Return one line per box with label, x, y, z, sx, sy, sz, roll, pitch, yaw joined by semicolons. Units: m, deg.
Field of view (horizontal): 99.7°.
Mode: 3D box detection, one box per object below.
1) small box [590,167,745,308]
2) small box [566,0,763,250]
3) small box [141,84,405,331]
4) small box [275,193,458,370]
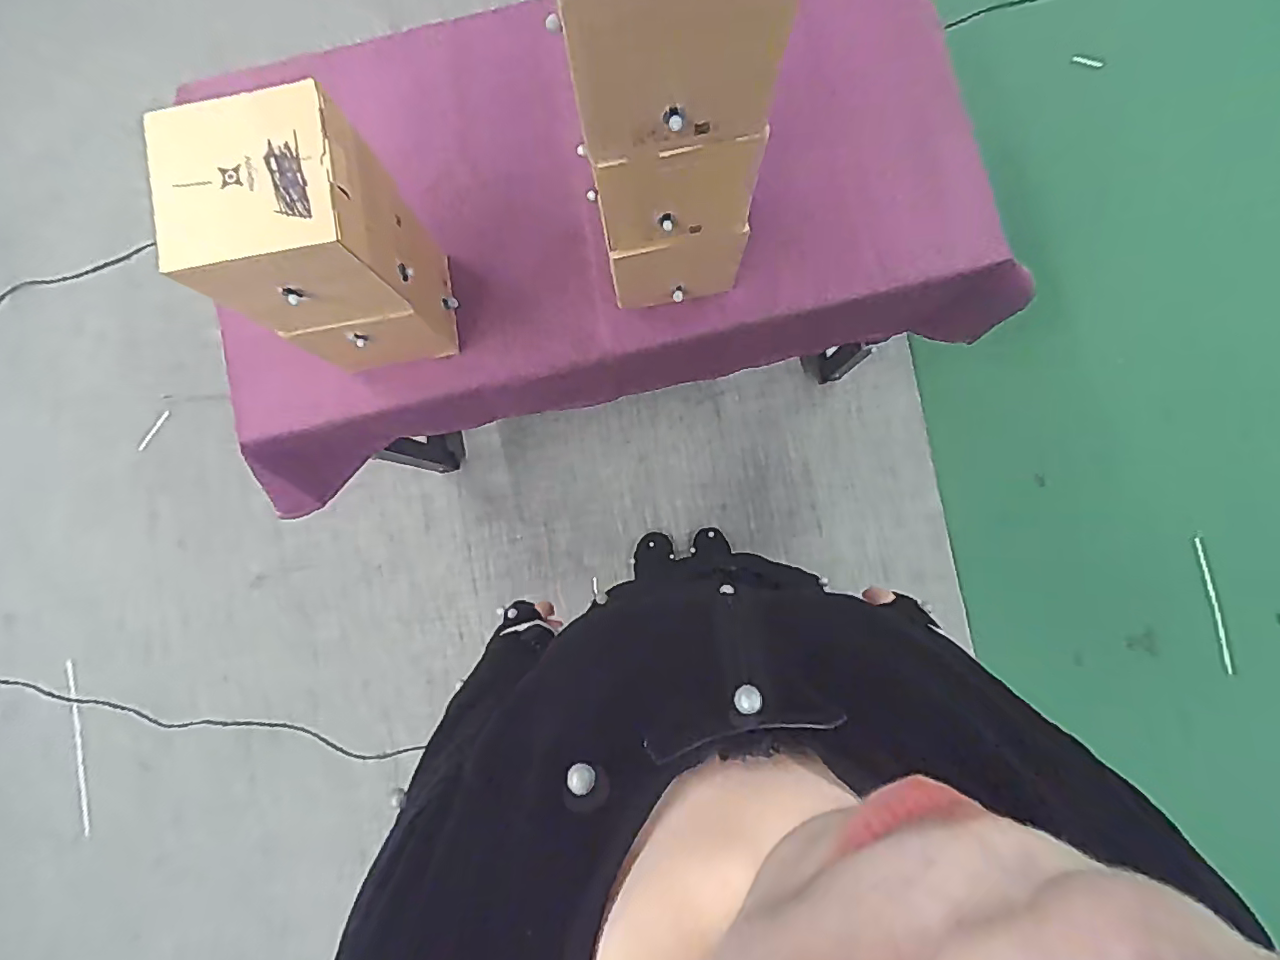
small box;0.031;-0.361;0.752;0.179;0.176;0.168;-11;85;0
small box;0.023;-0.385;0.590;0.168;0.176;0.179;-11;86;1
small box;-0.379;-0.280;0.593;0.179;0.176;0.168;-11;86;1
small box;-0.378;-0.263;0.757;0.179;0.176;0.168;-10;86;0
